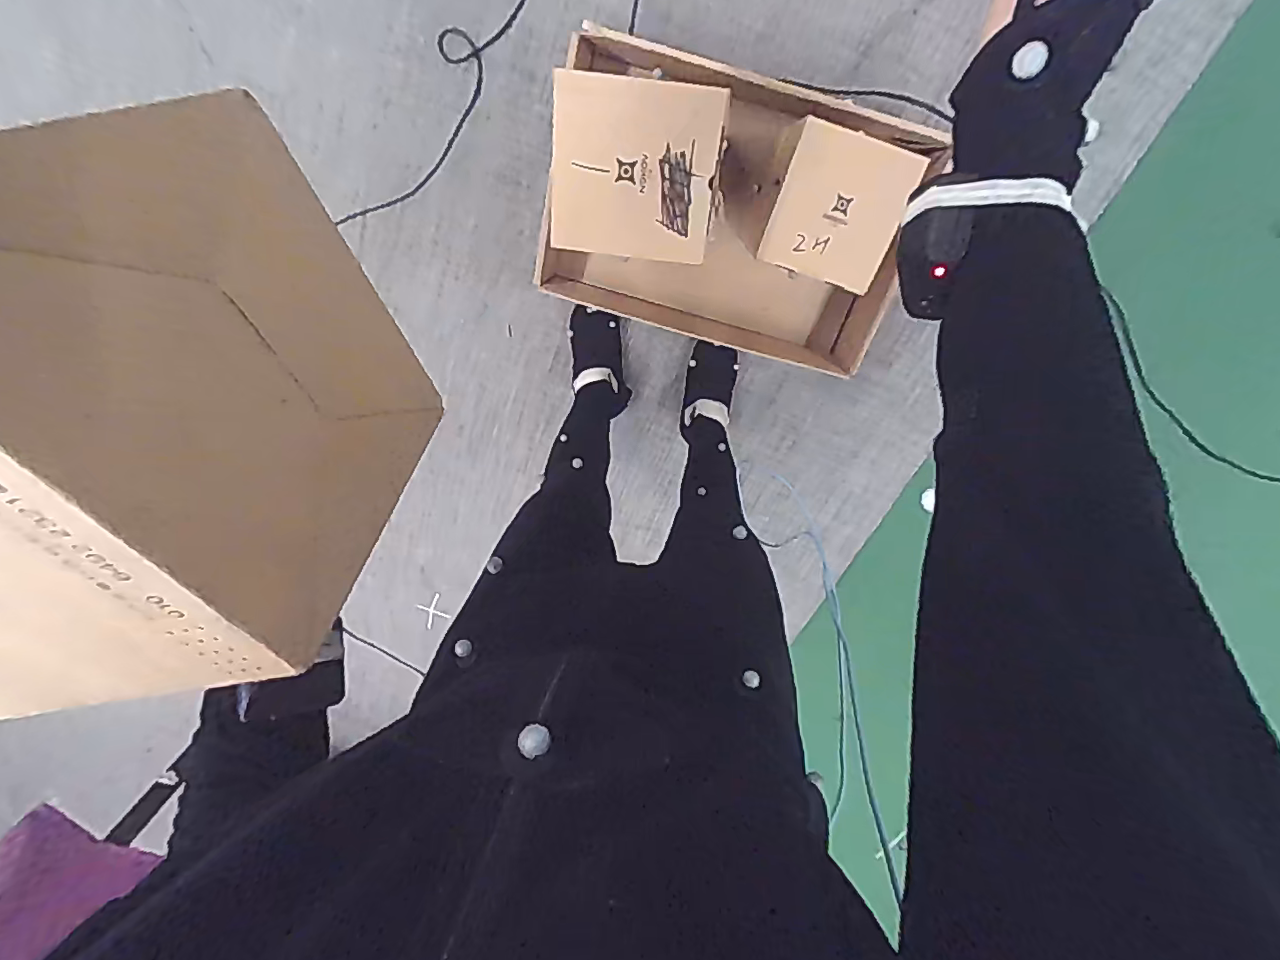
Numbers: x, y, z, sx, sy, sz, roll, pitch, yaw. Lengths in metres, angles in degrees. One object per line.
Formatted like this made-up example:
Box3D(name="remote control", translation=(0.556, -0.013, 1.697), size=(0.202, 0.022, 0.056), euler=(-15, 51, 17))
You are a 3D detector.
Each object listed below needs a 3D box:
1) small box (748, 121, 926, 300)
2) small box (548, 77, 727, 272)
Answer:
Box3D(name="small box", translation=(0.265, -0.384, 0.780), size=(0.168, 0.176, 0.179), euler=(18, 119, -3))
Box3D(name="small box", translation=(-0.004, -0.354, 0.637), size=(0.179, 0.176, 0.168), euler=(7, 119, 1))
